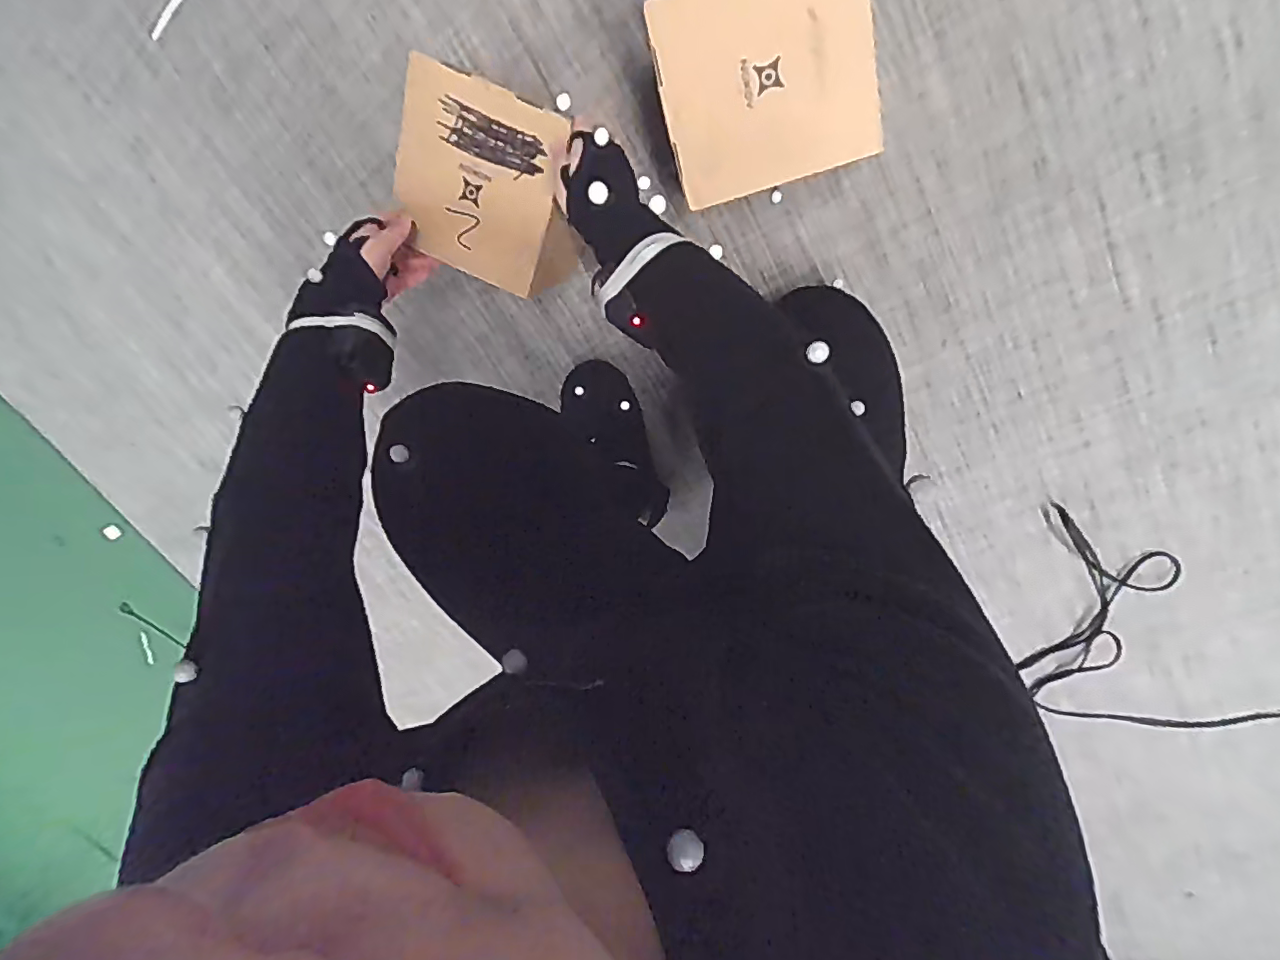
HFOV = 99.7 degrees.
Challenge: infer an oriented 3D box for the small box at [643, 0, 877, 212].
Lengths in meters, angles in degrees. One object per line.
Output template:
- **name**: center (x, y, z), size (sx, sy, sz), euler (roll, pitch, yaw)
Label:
- **small box**: center (0.119, -0.372, 0.528), size (0.179, 0.176, 0.168), euler (-10, 115, 16)
